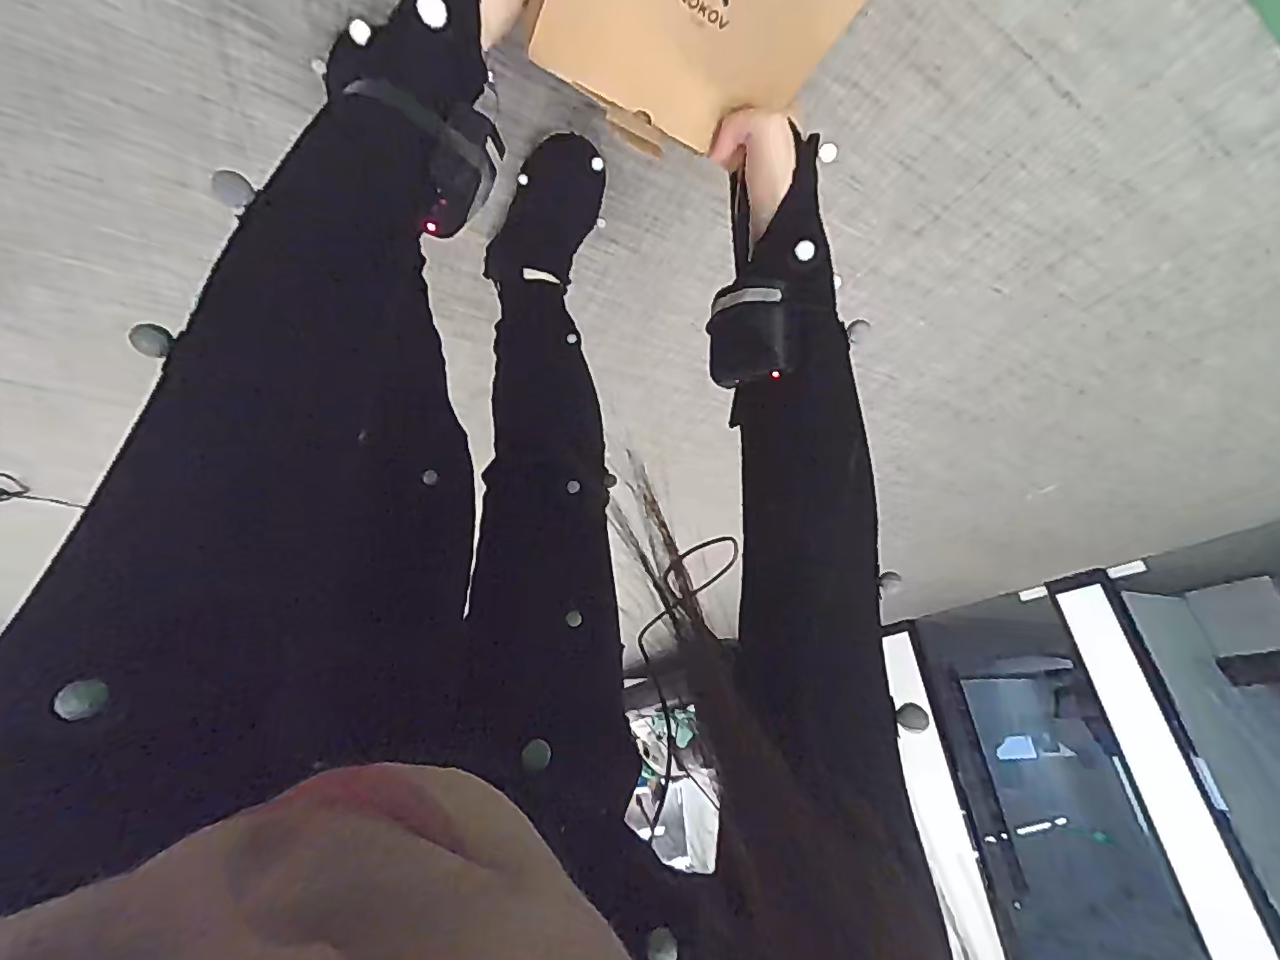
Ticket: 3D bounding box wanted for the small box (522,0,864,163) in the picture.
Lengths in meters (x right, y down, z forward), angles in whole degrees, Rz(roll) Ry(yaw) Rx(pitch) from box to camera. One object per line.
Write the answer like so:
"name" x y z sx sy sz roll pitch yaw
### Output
"small box" 0.038 -0.348 0.322 0.168 0.176 0.179 10 150 -28
